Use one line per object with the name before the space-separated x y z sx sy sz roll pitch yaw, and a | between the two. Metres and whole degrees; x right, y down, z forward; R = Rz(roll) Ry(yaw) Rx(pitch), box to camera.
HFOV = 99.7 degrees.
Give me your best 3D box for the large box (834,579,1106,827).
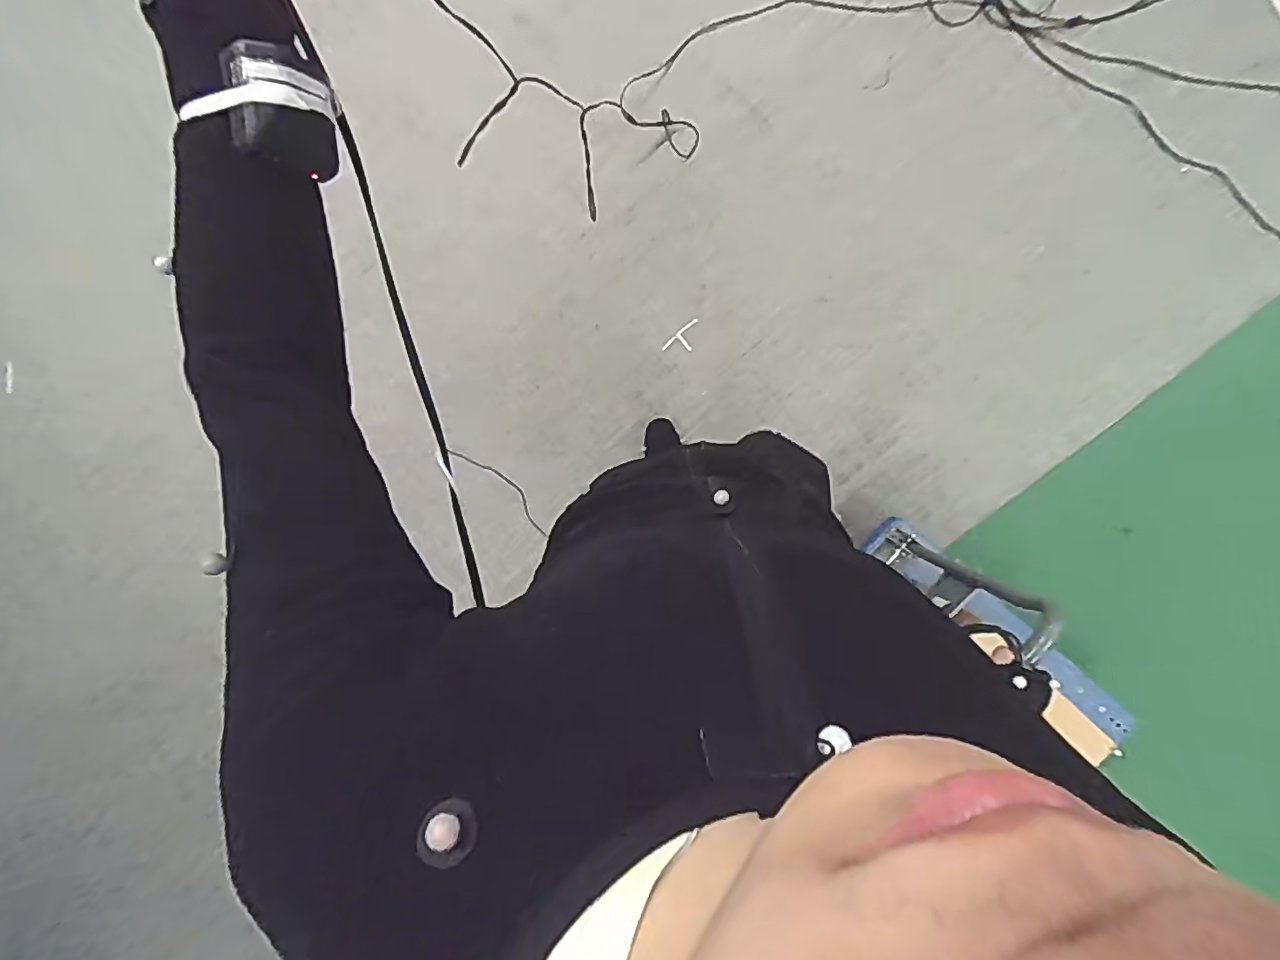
large box | 0.764 0.512 1.320 0.408 0.320 0.320 43 96 -3
